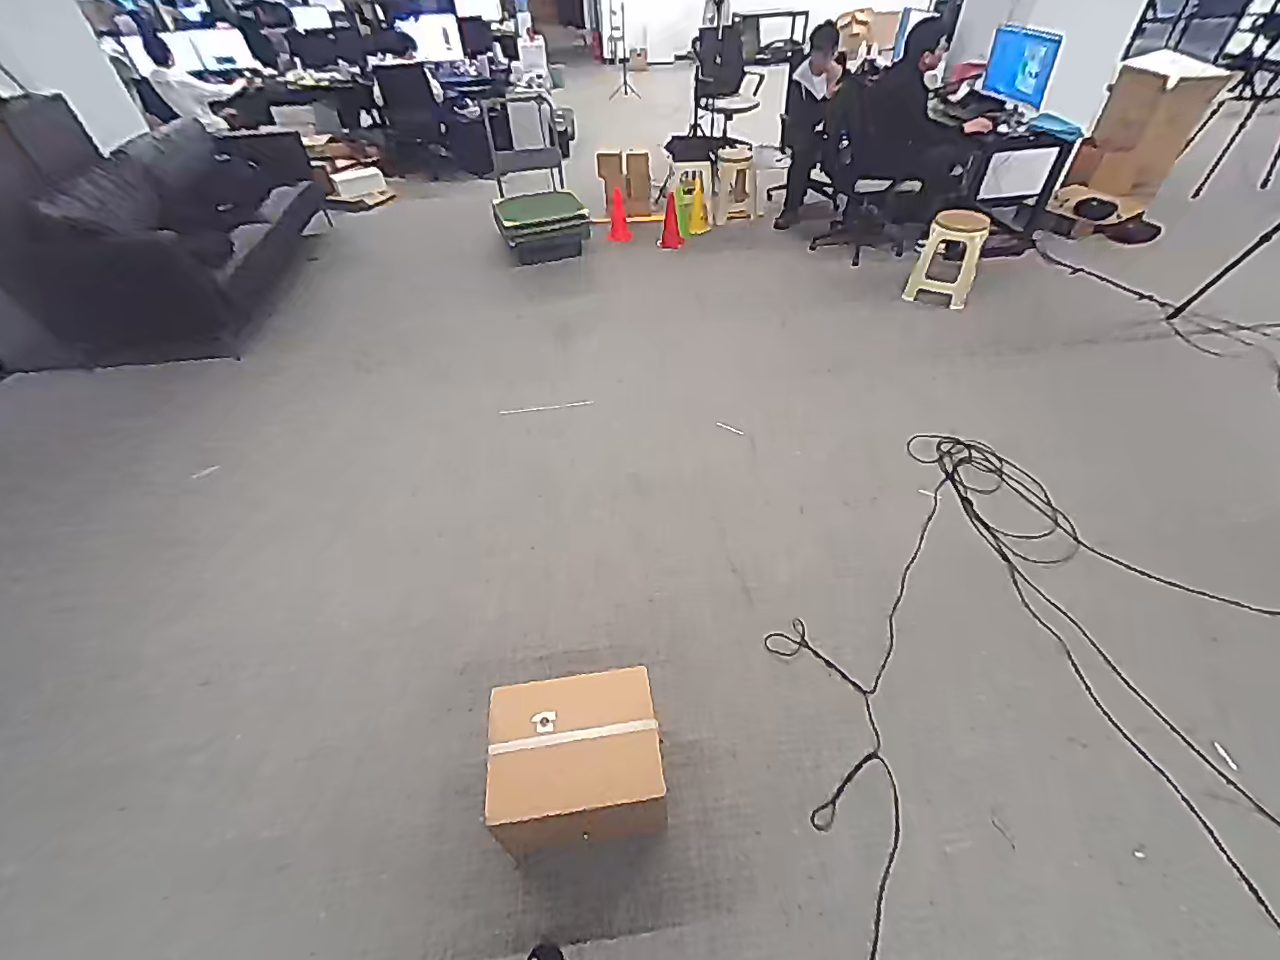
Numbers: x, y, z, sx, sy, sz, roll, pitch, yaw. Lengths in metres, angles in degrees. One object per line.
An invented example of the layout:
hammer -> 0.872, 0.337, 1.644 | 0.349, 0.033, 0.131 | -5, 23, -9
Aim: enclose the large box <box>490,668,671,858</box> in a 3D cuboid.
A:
large box -> -0.146, 0.731, 1.398 | 0.408, 0.320, 0.320 | -8, 44, -4
